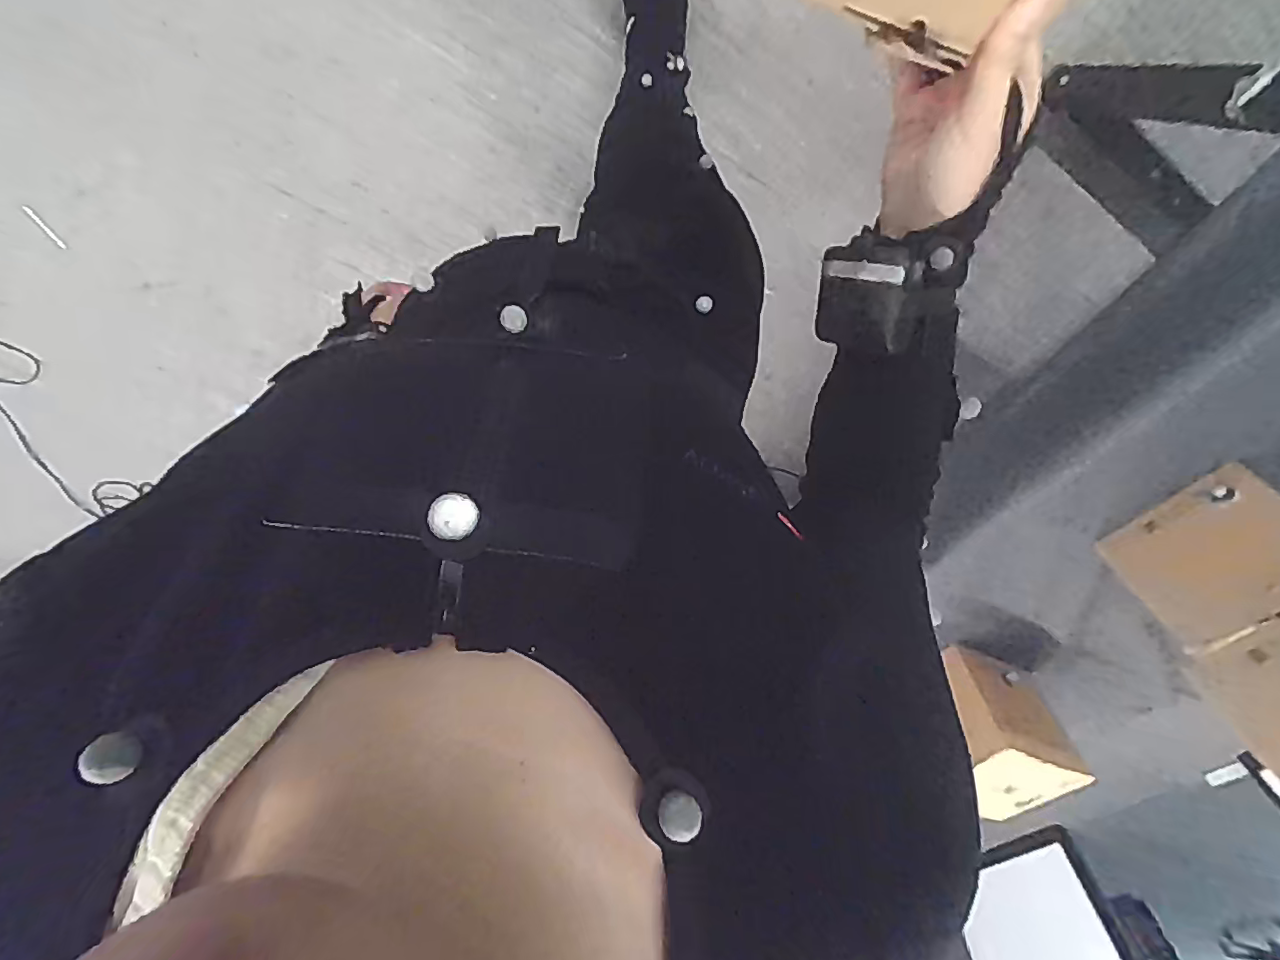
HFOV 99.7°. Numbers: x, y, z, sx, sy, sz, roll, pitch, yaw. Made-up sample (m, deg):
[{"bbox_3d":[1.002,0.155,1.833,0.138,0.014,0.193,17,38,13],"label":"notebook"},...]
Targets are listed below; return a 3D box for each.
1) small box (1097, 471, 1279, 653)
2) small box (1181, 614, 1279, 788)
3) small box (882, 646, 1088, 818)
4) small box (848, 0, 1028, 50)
[{"bbox_3d":[0.695,0.115,0.625,0.179,0.176,0.168,28,124,-20],"label":"small box"},{"bbox_3d":[0.691,0.230,0.506,0.179,0.176,0.168,25,123,-18],"label":"small box"},{"bbox_3d":[0.514,0.384,0.835,0.179,0.176,0.168,24,124,-16],"label":"small box"},{"bbox_3d":[0.113,-0.324,0.210,0.168,0.176,0.179,-13,154,-30],"label":"small box"}]
